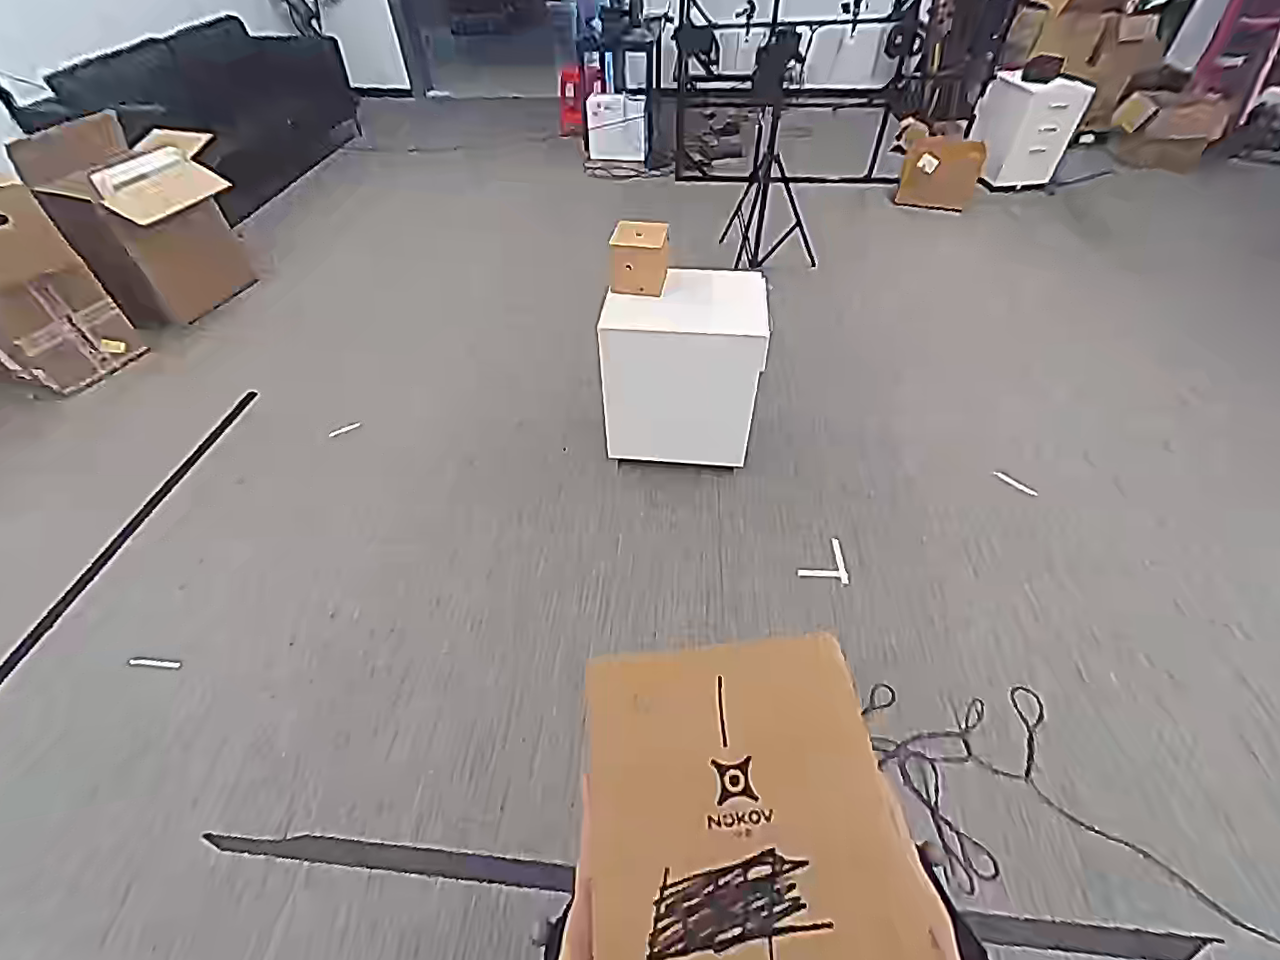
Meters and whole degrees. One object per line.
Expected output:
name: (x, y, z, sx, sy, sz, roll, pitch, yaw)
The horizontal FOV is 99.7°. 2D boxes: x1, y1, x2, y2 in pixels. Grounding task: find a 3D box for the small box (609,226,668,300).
small box: (0.000, -0.705, 1.758, 0.168, 0.176, 0.179, 7, 48, 7)
